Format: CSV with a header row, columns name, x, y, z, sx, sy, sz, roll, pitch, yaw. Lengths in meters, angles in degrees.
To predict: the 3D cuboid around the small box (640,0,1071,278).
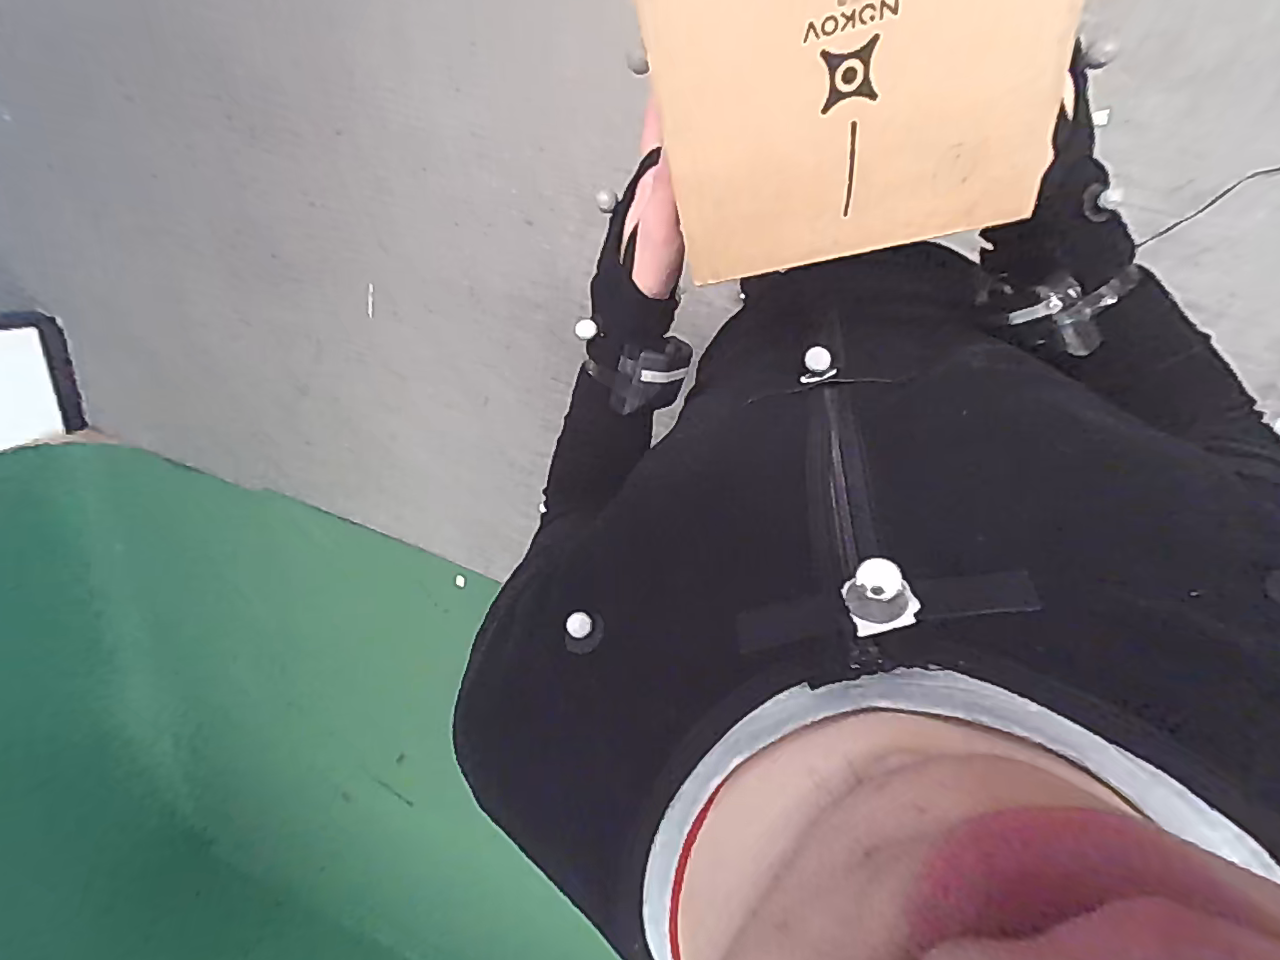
name,x,y,z,sx,sy,sz,roll,pitch,yaw
small box,0.091,-0.237,0.277,0.168,0.176,0.179,-7,136,13
